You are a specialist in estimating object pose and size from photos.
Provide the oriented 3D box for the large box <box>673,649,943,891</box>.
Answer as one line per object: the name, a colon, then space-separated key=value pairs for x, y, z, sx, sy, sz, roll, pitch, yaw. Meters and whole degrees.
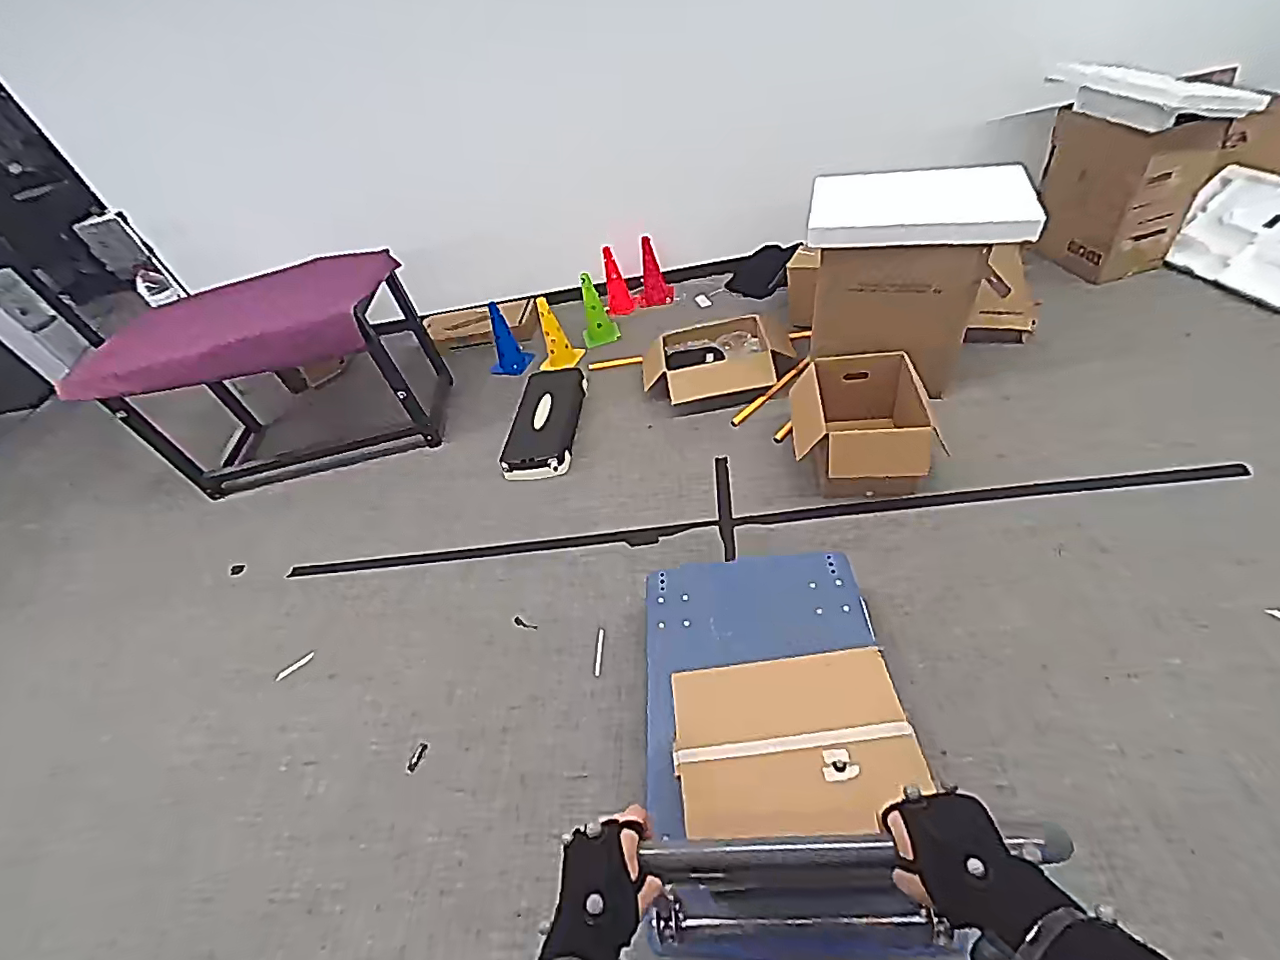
large box: x=0.294 y=0.572 z=1.060 sx=0.408 sy=0.320 sz=0.320 roll=-9 pitch=45 yaw=5
